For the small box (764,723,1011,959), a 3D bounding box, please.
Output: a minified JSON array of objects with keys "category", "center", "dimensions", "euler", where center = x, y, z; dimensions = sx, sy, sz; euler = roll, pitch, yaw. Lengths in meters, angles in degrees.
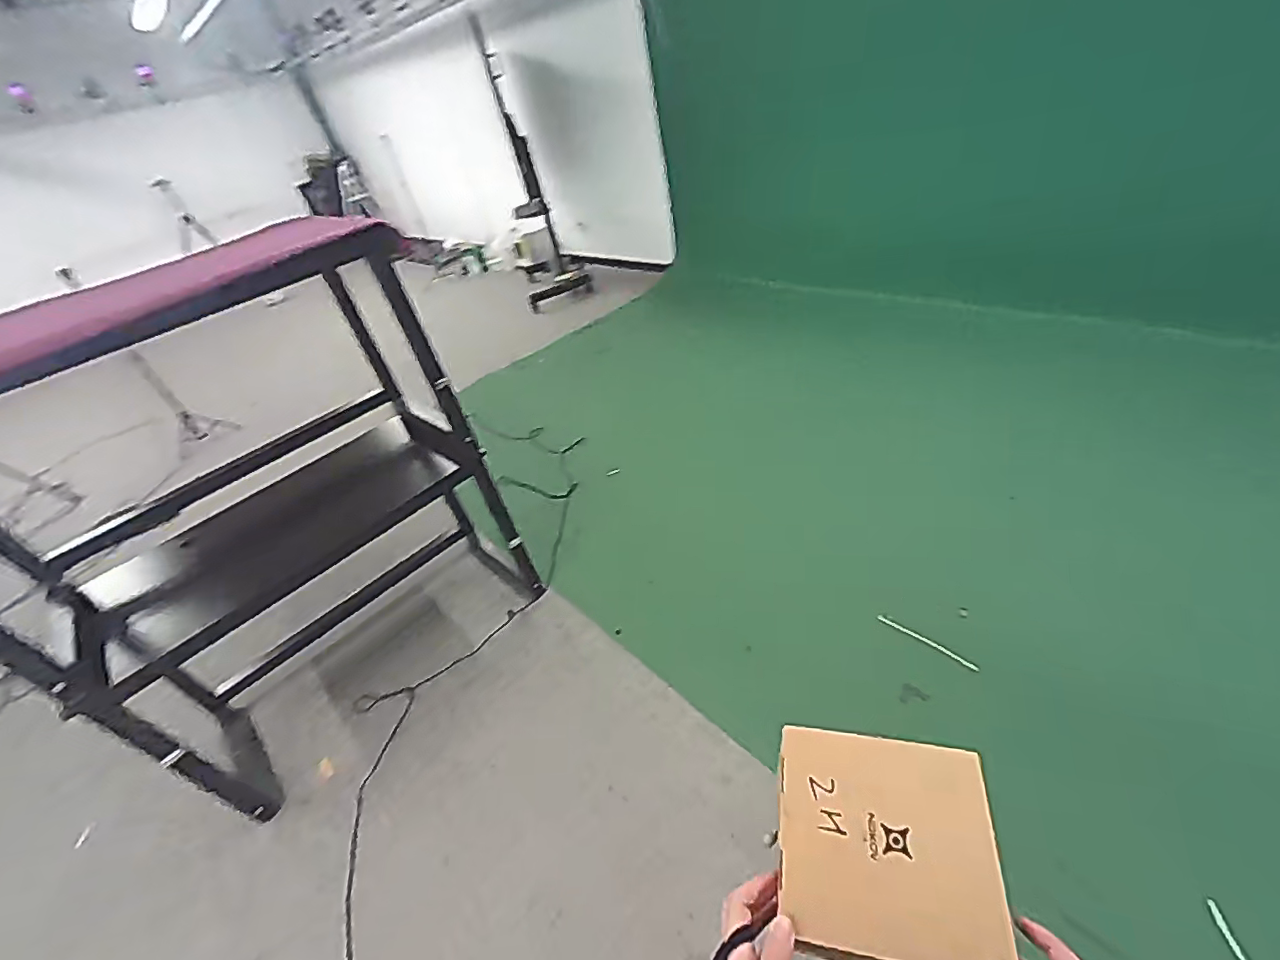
[{"category":"small box","center":[0.214,0.356,0.518],"dimensions":[0.179,0.176,0.168],"euler":[2,47,14]}]
